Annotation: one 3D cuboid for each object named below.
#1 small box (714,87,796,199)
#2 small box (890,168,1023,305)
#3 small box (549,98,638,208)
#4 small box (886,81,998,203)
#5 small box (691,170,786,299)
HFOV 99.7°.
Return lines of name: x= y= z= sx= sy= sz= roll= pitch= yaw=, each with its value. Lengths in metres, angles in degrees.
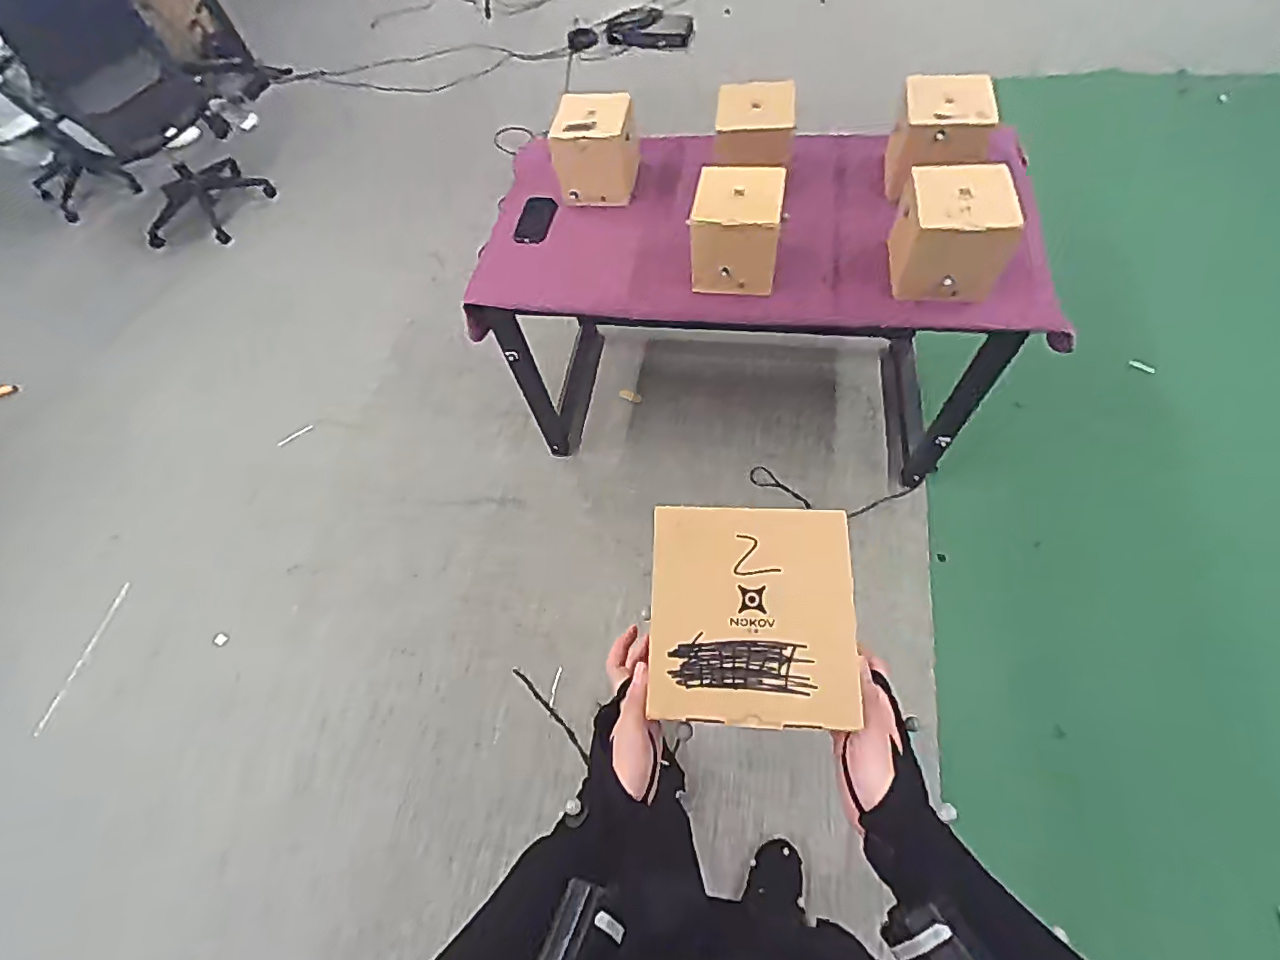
small box: x=0.260 y=-0.765 z=1.243 sx=0.168 sy=0.176 sz=0.179 roll=5 pitch=63 yaw=11
small box: x=0.585 y=-0.460 z=1.027 sx=0.168 sy=0.176 sz=0.179 roll=4 pitch=62 yaw=11
small box: x=-0.102 y=-0.776 z=1.294 sx=0.168 sy=0.176 sz=0.179 roll=5 pitch=62 yaw=10
small box: x=0.641 y=-0.728 z=1.172 sx=0.168 sy=0.176 sz=0.179 roll=6 pitch=62 yaw=12
small box: x=0.198 y=-0.499 z=1.104 sx=0.168 sy=0.176 sz=0.179 roll=7 pitch=62 yaw=11
